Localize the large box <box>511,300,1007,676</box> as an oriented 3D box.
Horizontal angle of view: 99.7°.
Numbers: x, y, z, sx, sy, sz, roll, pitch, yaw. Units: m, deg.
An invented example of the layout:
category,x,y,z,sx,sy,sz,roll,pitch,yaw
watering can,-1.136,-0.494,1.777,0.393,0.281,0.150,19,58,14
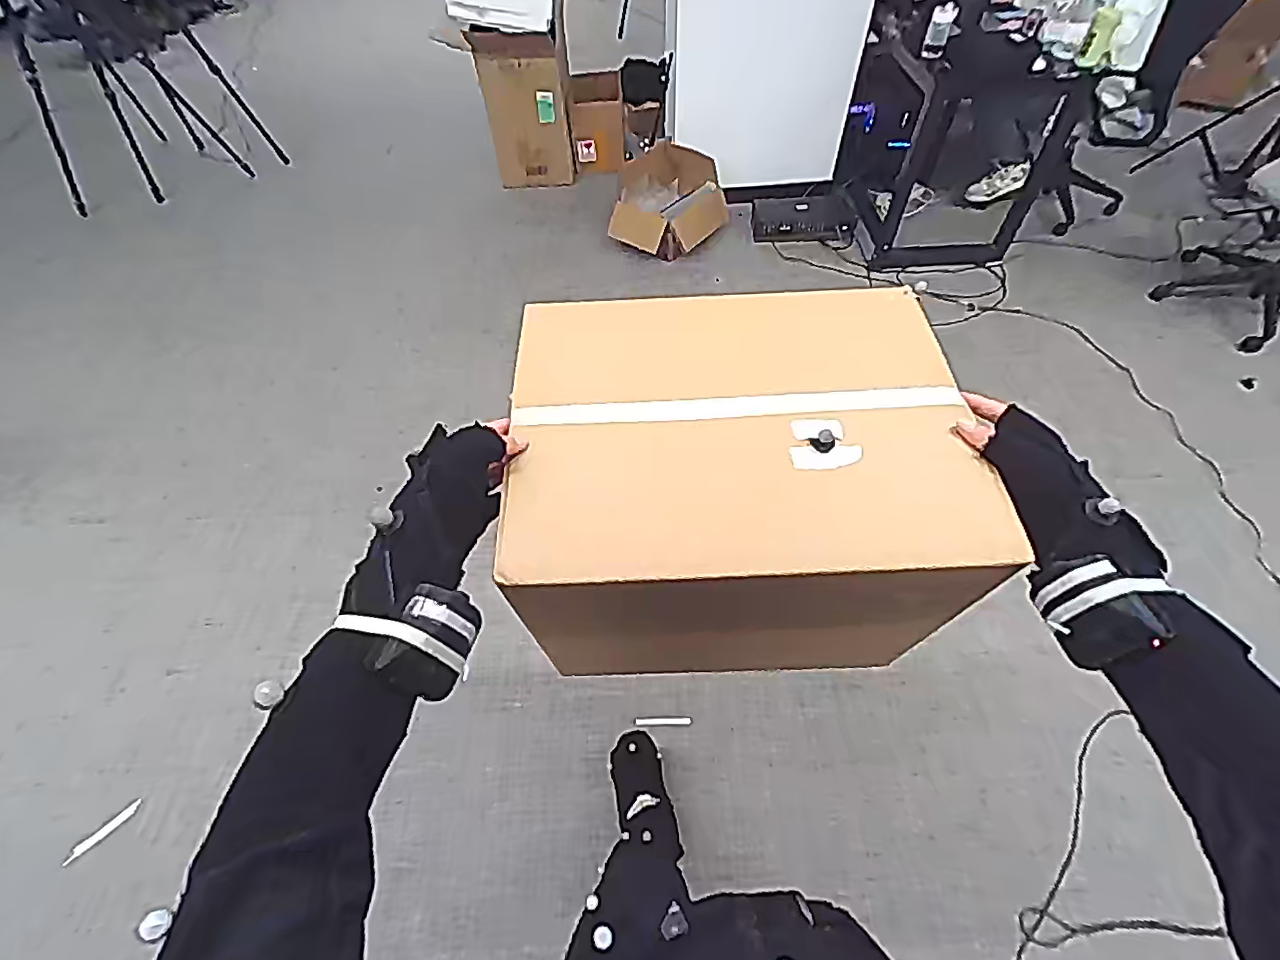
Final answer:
category,x,y,z,sx,sy,sz,roll,pitch,yaw
large box,0.089,0.025,0.628,0.408,0.320,0.320,-3,58,0
